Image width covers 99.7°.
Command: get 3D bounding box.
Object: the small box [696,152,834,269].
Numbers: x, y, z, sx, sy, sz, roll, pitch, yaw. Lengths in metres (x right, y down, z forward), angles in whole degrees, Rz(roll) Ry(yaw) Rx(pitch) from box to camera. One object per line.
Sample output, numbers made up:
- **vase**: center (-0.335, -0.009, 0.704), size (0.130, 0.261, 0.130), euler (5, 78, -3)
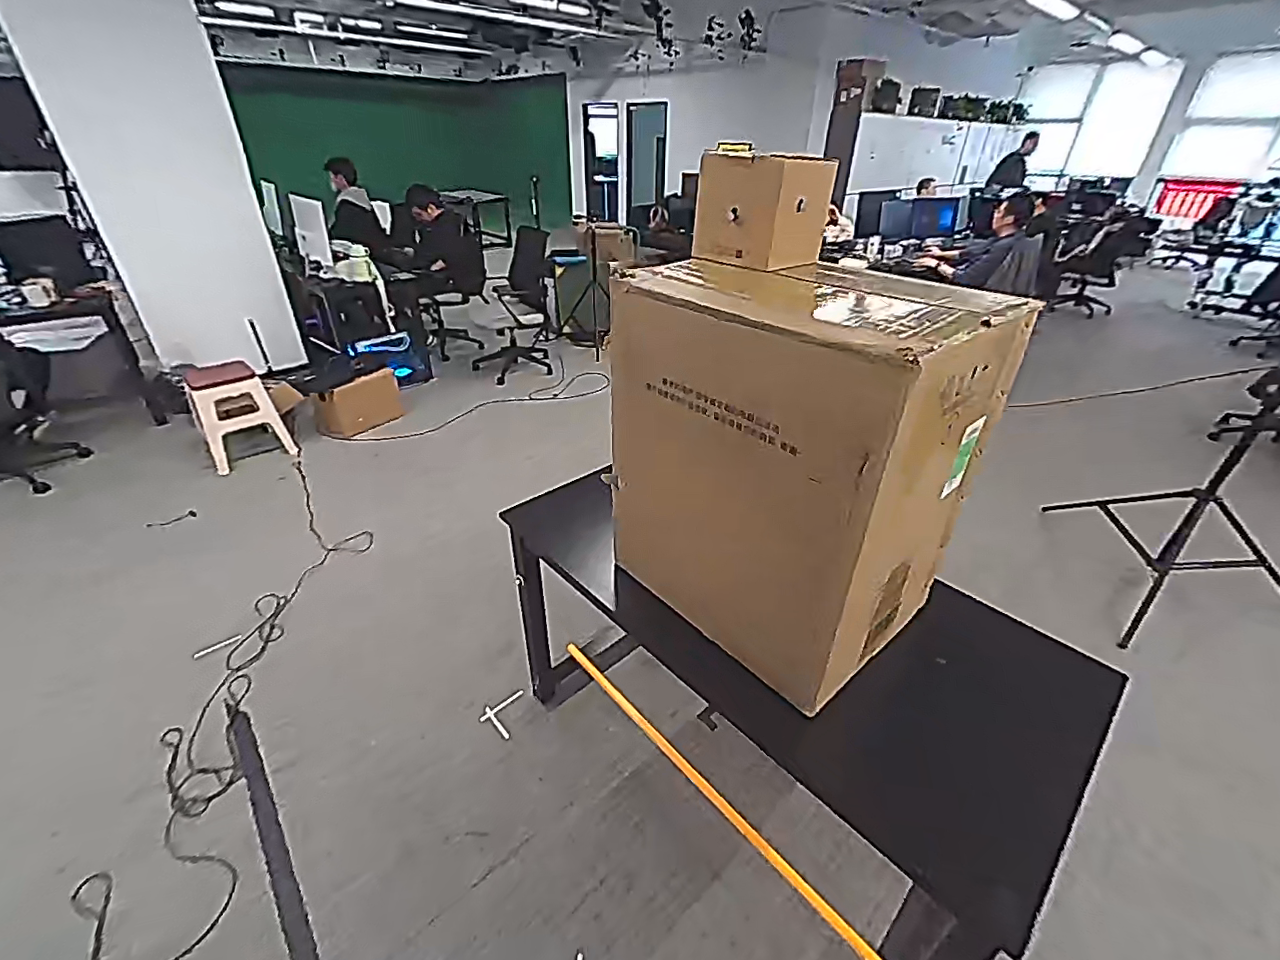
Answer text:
- **small box**: center (0.211, -0.473, 0.946), size (0.168, 0.176, 0.179), euler (28, 40, 35)
